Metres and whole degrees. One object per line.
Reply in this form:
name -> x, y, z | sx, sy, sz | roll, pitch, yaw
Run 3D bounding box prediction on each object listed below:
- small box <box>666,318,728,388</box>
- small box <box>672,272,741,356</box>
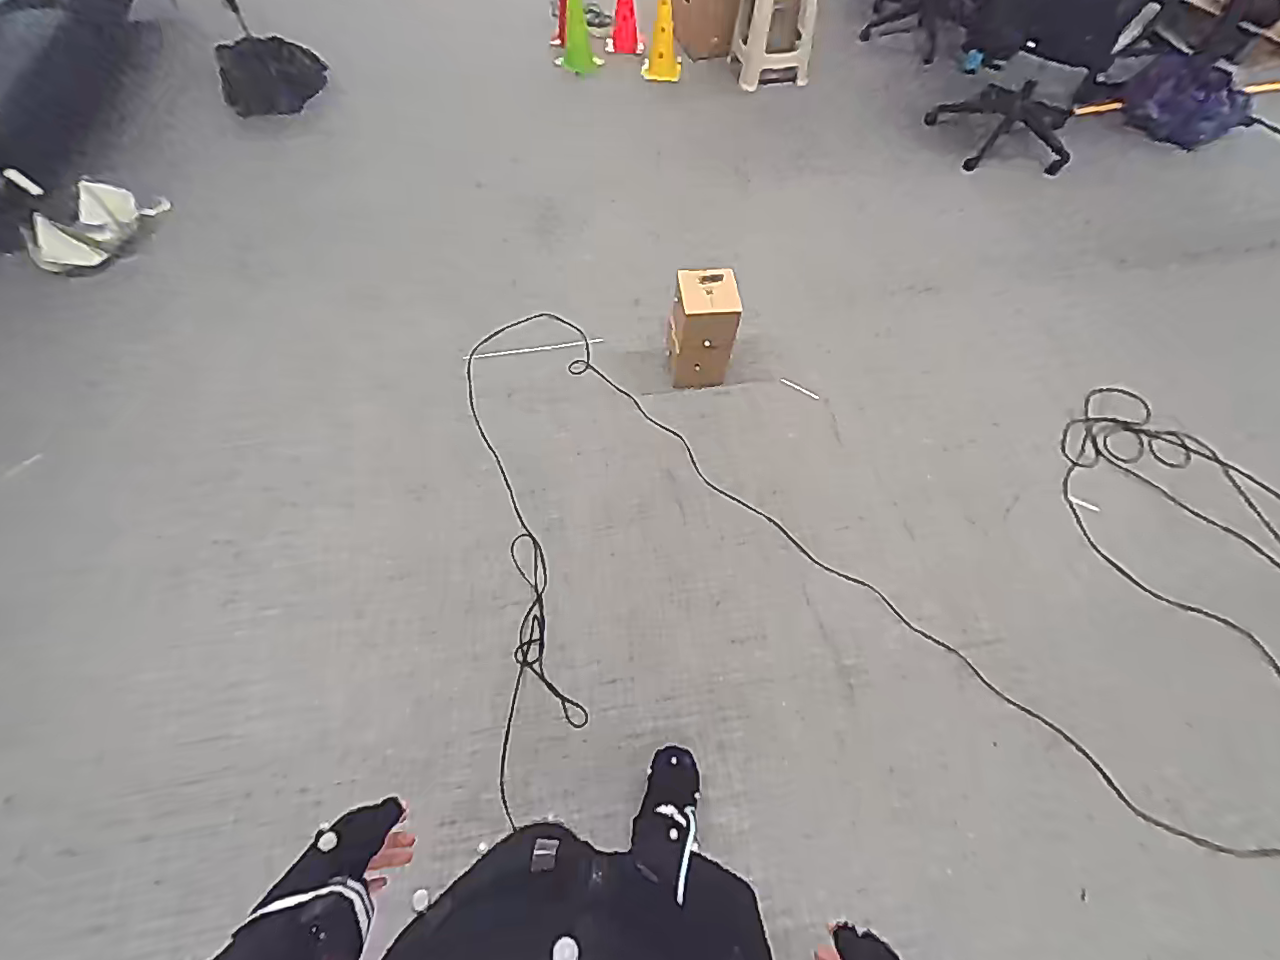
small box -> 0.181, -0.413, 1.759 | 0.179, 0.176, 0.168 | -5, 62, -4
small box -> 0.191, -0.493, 1.615 | 0.168, 0.176, 0.179 | -4, 62, -4
